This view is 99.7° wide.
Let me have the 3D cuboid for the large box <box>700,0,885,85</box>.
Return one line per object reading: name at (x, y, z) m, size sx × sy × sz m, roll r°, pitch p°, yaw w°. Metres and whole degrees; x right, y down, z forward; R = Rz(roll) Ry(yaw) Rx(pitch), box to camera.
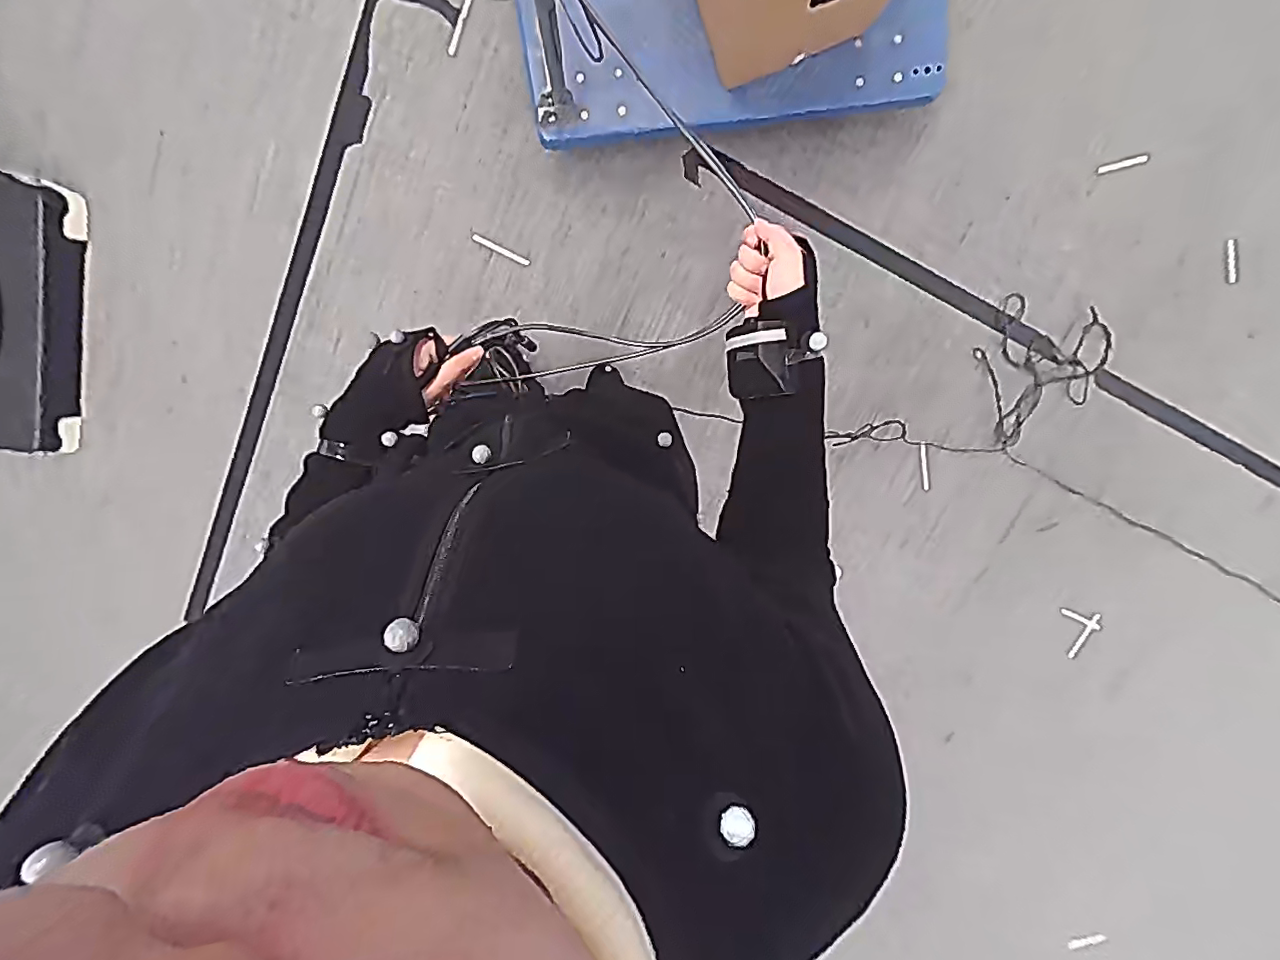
large box at (0.251, -1.009, 0.920) m, size 0.320 × 0.320 × 0.408 m, roll -21°, pitch 104°, yaw 5°
